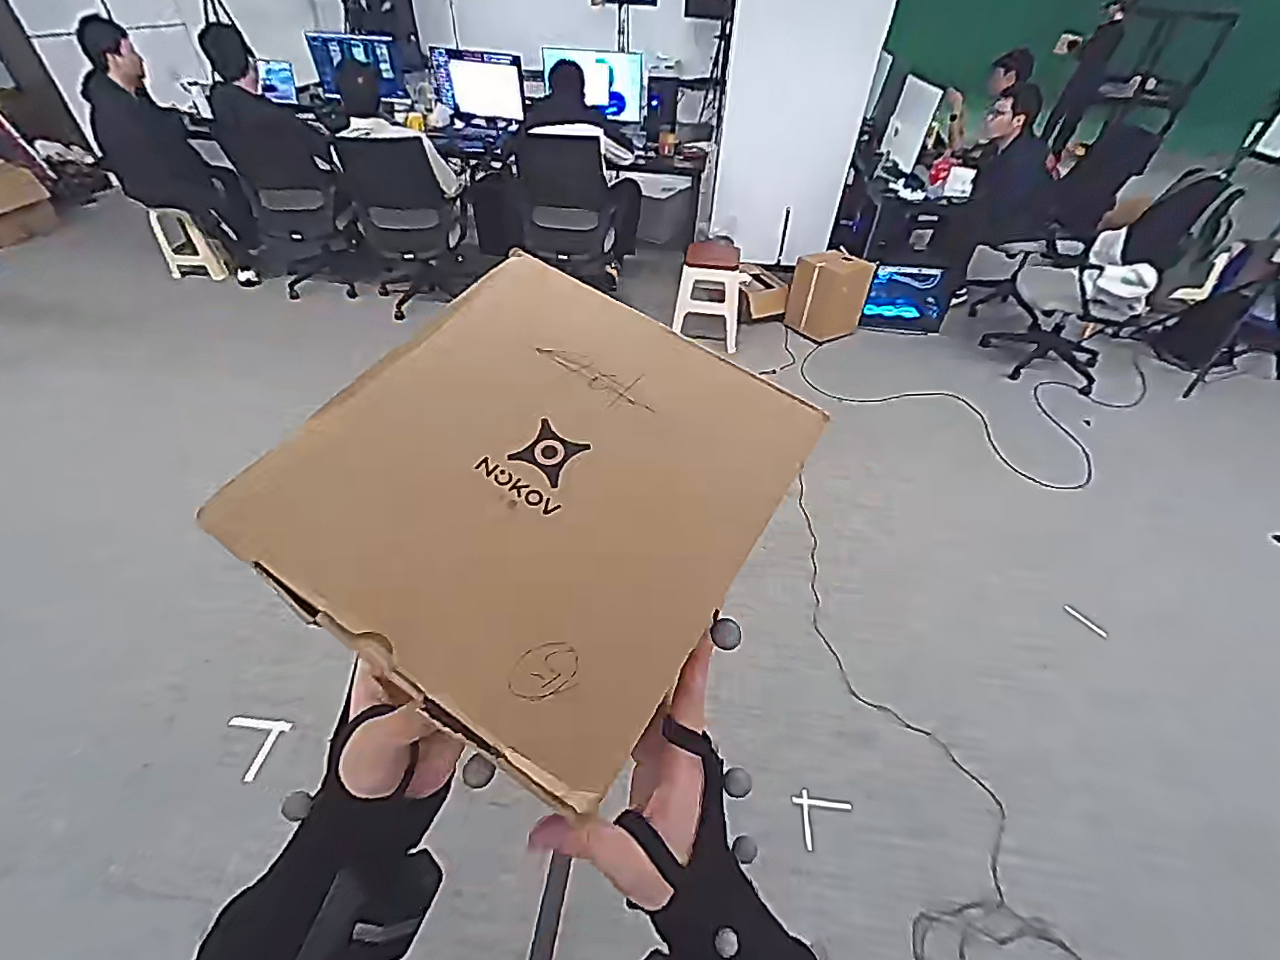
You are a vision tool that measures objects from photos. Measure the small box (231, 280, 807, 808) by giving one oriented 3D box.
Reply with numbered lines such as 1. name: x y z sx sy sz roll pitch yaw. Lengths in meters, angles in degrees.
1. small box: -0.043 0.039 0.286 0.168 0.176 0.179 31 62 12
